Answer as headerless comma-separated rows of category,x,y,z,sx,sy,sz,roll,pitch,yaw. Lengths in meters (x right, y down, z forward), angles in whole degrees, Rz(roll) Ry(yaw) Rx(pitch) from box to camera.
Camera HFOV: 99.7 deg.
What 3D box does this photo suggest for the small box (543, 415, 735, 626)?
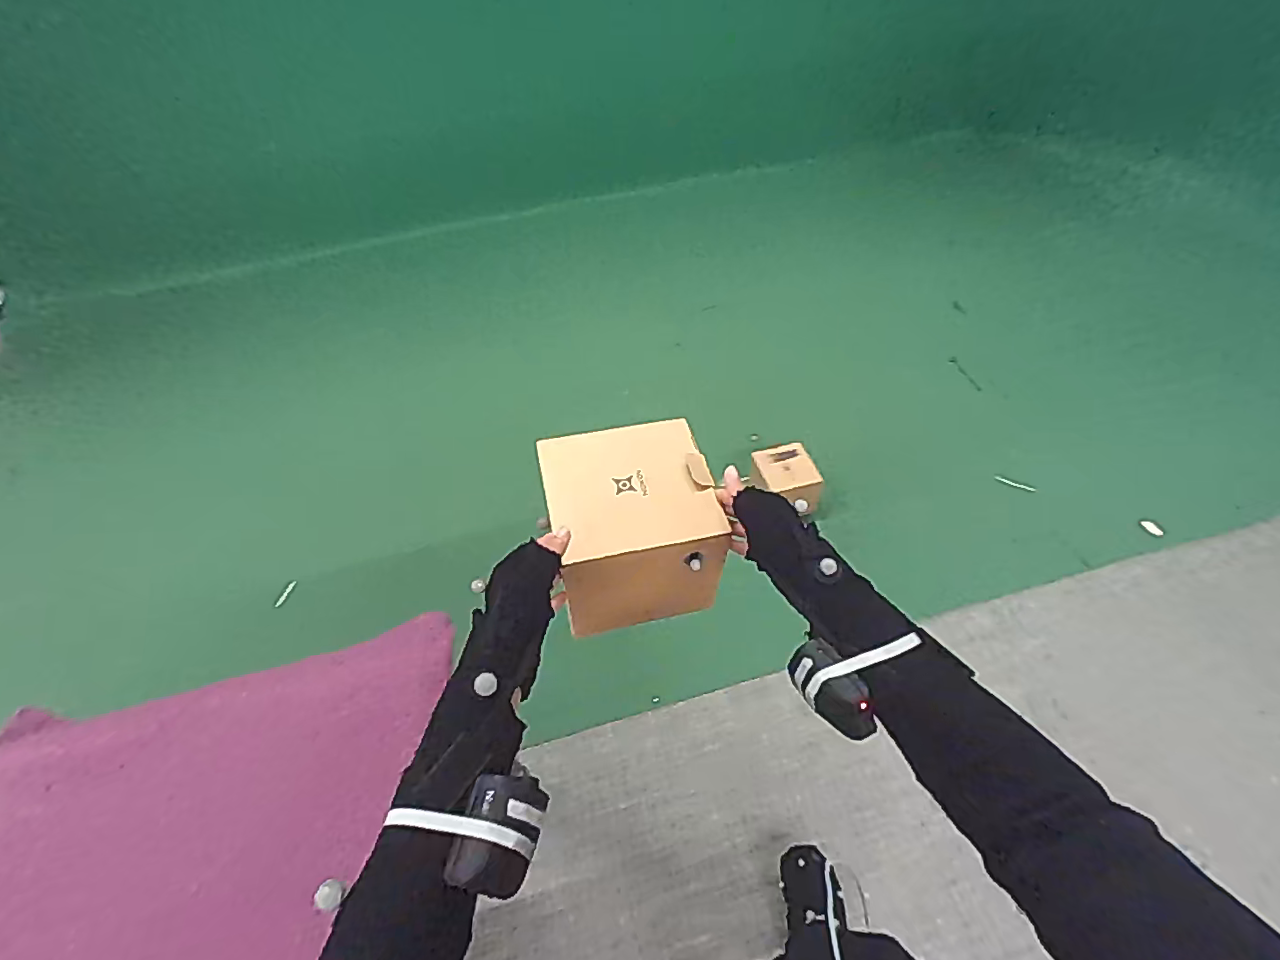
small box,-0.007,0.051,0.627,0.179,0.176,0.168,-10,52,-9
